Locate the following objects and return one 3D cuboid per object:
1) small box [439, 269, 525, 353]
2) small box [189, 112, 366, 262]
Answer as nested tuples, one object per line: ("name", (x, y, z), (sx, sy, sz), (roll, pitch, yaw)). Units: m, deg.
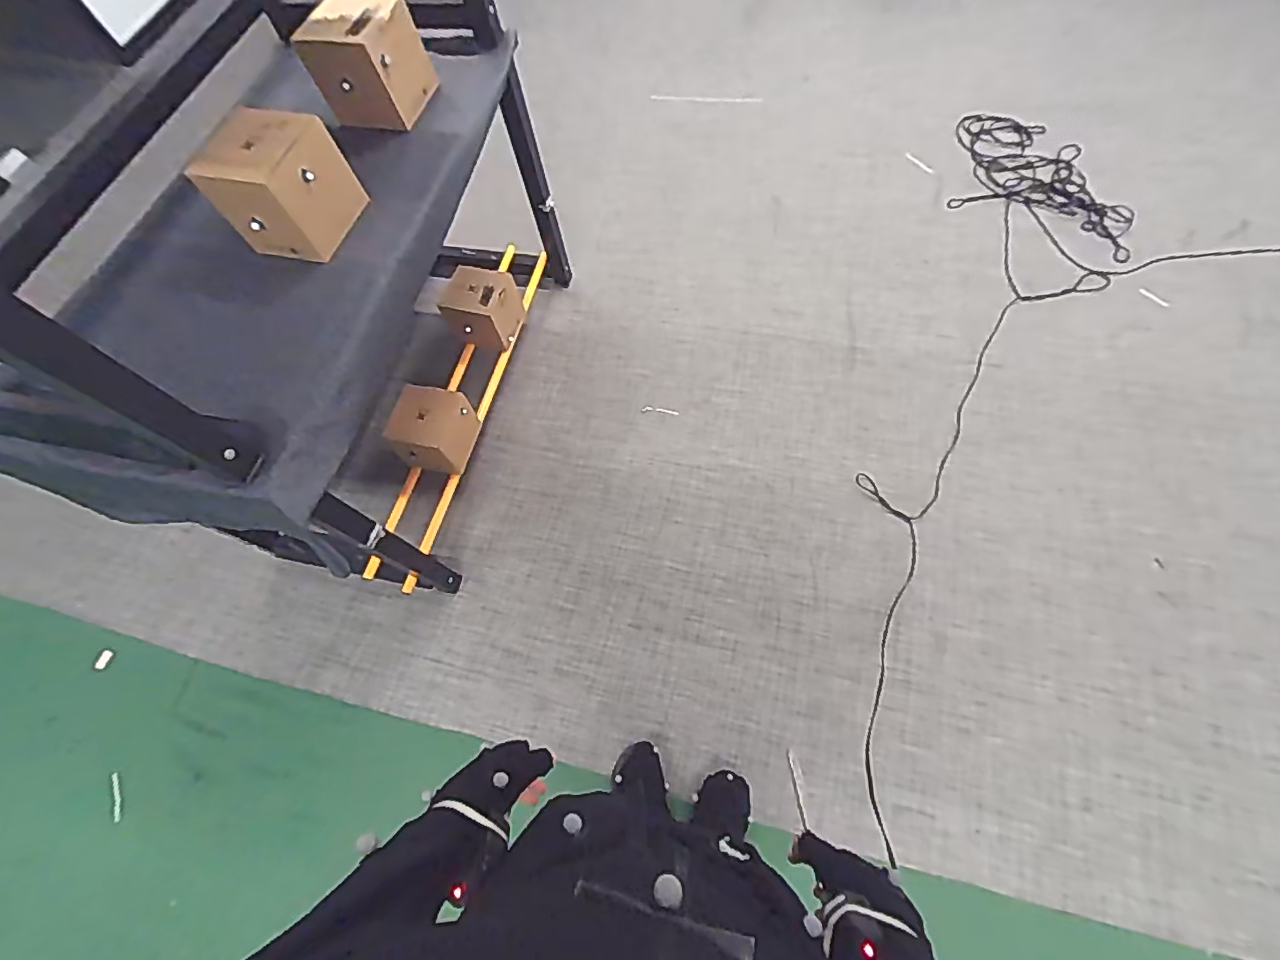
("small box", (-0.472, -0.509, 1.647), (0.179, 0.176, 0.168), (13, 67, 11))
("small box", (-0.638, -0.525, 0.981), (0.168, 0.176, 0.179), (13, 67, 11))
